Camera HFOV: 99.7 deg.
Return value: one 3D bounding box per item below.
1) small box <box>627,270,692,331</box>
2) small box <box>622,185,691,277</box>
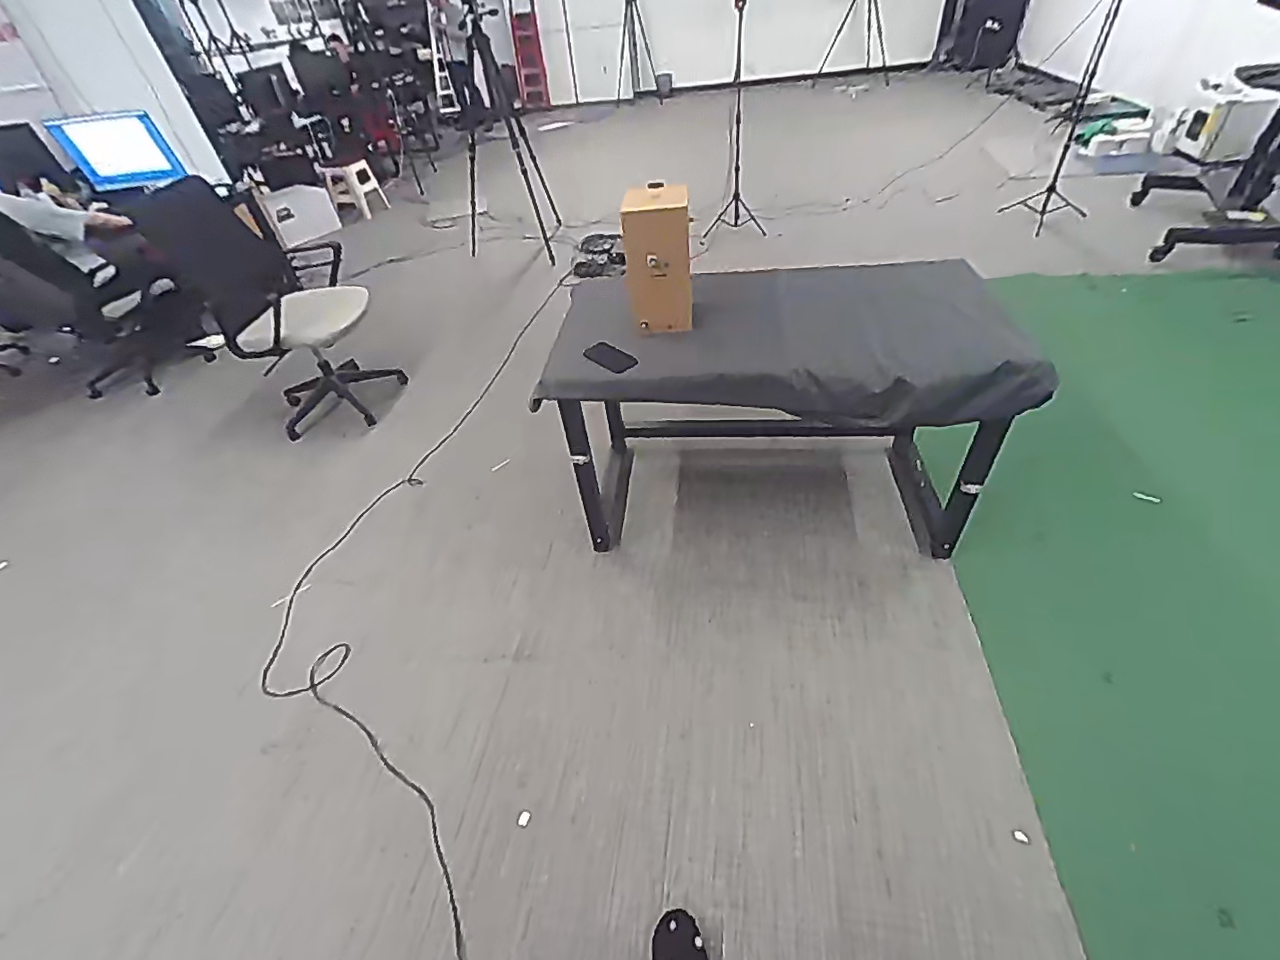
[{"bbox_3d":[0.060,-0.532,1.524,0.168,0.176,0.179,-2,43,6],"label":"small box"},{"bbox_3d":[0.048,-0.649,1.414,0.168,0.176,0.179,-3,44,6],"label":"small box"}]
